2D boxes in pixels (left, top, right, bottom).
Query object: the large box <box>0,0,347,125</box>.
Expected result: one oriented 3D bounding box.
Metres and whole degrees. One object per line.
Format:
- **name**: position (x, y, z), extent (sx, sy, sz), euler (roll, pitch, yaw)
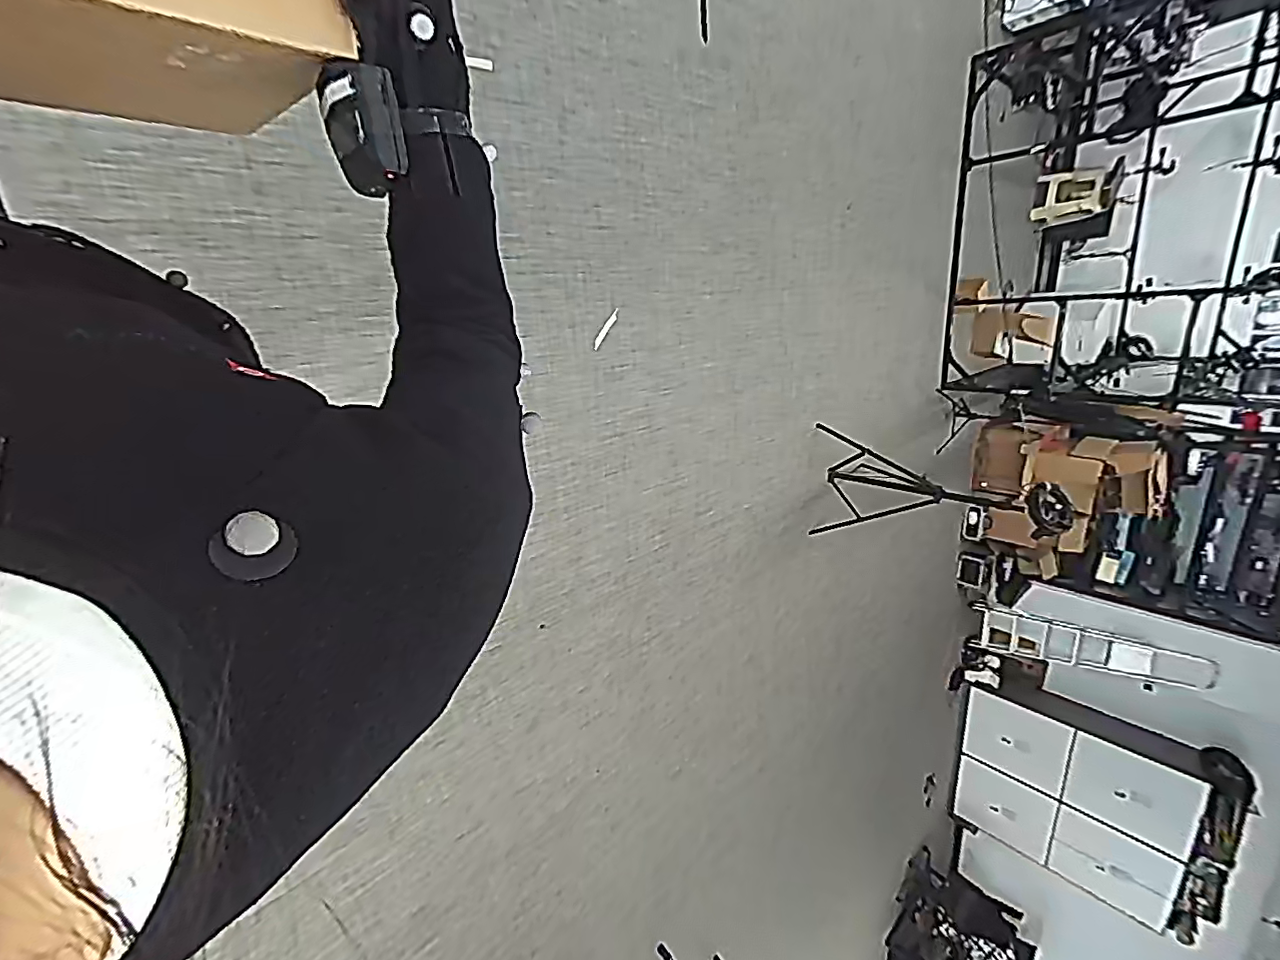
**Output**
- **large box**: position (-0.427, -0.395, 0.250), extent (0.408, 0.320, 0.320), euler (-20, 121, -41)
